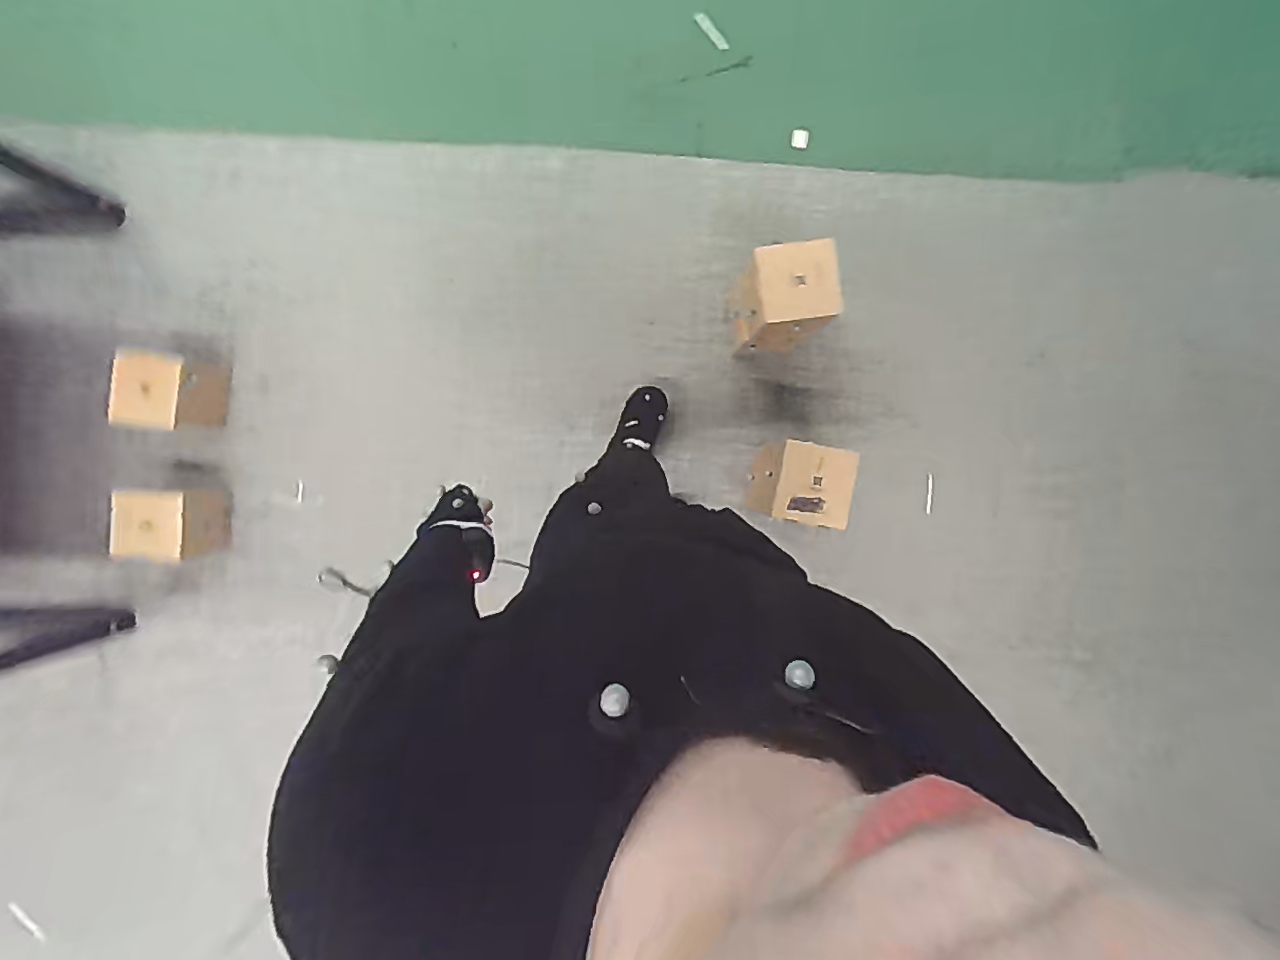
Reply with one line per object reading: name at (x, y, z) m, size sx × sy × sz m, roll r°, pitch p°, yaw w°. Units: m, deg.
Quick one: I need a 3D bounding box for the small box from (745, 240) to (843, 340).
small box at (0.343, -0.428, 1.240) m, size 0.179 × 0.176 × 0.168 m, roll -6°, pitch 92°, yaw -1°

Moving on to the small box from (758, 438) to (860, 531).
small box at (0.378, 0.009, 1.246) m, size 0.168 × 0.176 × 0.179 m, roll 12°, pitch 90°, yaw 0°

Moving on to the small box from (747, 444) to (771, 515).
small box at (0.386, 0.008, 1.412) m, size 0.168 × 0.176 × 0.179 m, roll 11°, pitch 91°, yaw -1°
